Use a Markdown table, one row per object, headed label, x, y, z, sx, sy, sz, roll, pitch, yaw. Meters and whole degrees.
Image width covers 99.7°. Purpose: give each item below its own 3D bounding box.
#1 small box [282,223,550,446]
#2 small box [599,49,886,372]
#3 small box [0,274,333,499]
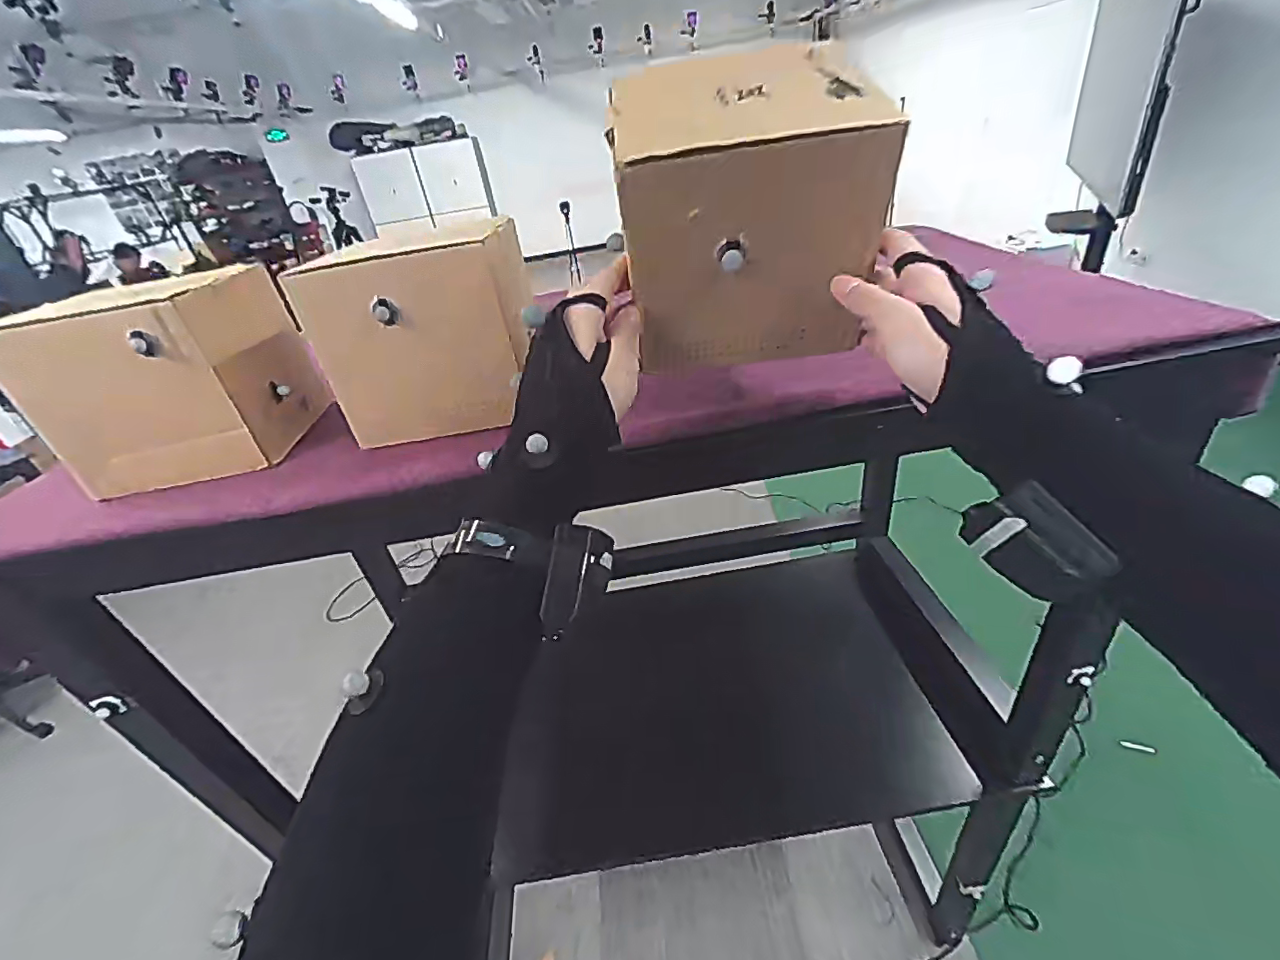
| label | x | y | z | sx | sy | sz | roll | pitch | yaw |
| --- | --- | --- | --- | --- | --- | --- | --- | --- | --- |
| small box | -0.204 | -0.149 | 0.554 | 0.179 | 0.176 | 0.168 | -9 | 33 | 3 |
| small box | 0.070 | -0.206 | 0.435 | 0.179 | 0.176 | 0.168 | -8 | 52 | 5 |
| small box | -0.462 | -0.097 | 0.557 | 0.179 | 0.176 | 0.168 | -11 | 32 | -2 |
